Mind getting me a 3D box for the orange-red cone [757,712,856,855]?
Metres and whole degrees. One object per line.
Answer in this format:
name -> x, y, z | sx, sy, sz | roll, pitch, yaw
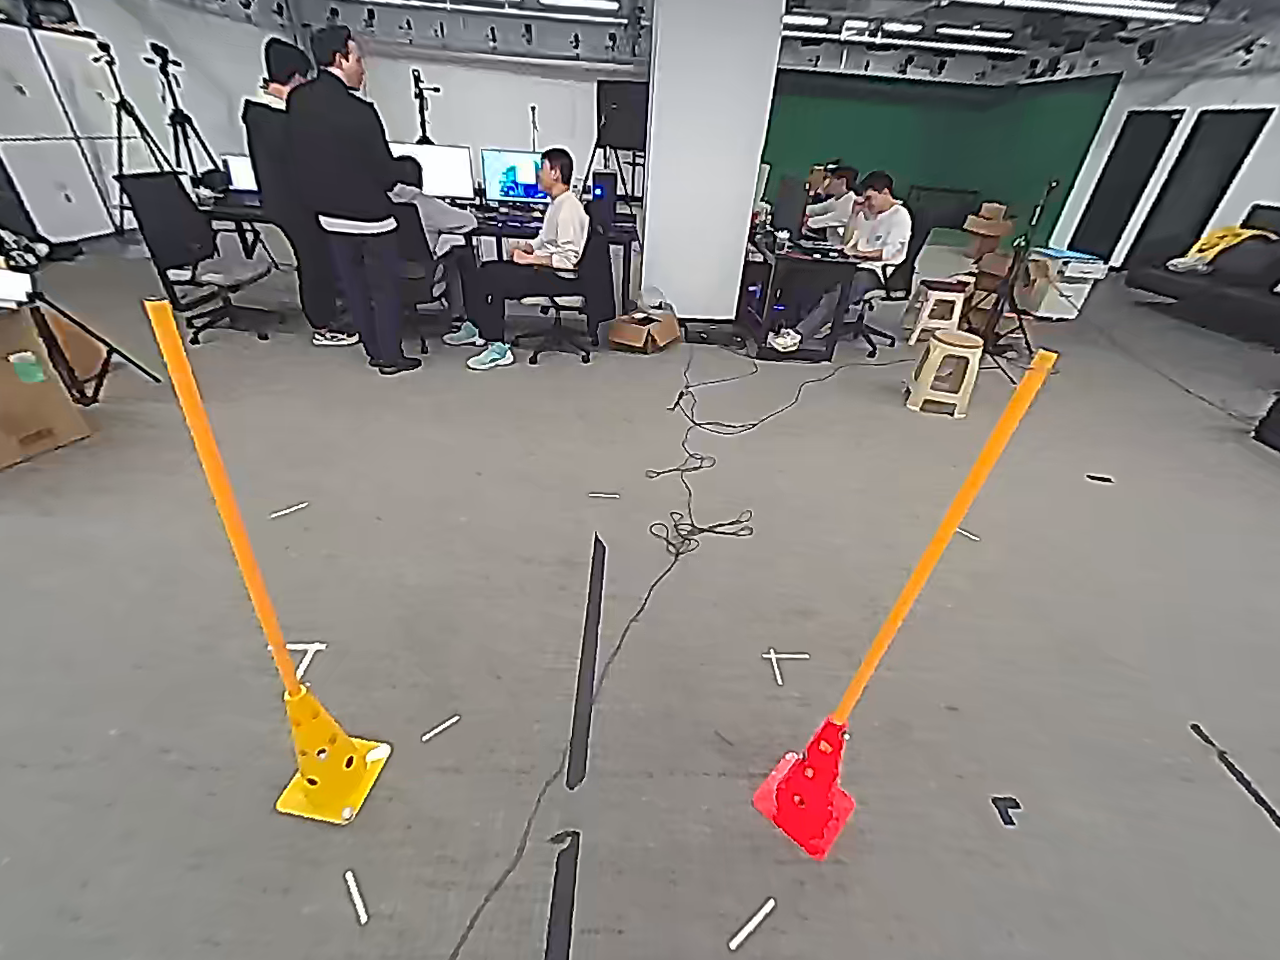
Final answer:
orange-red cone -> 0.430, 0.673, 1.281 | 0.199, 0.360, 0.198 | -27, 43, -37
